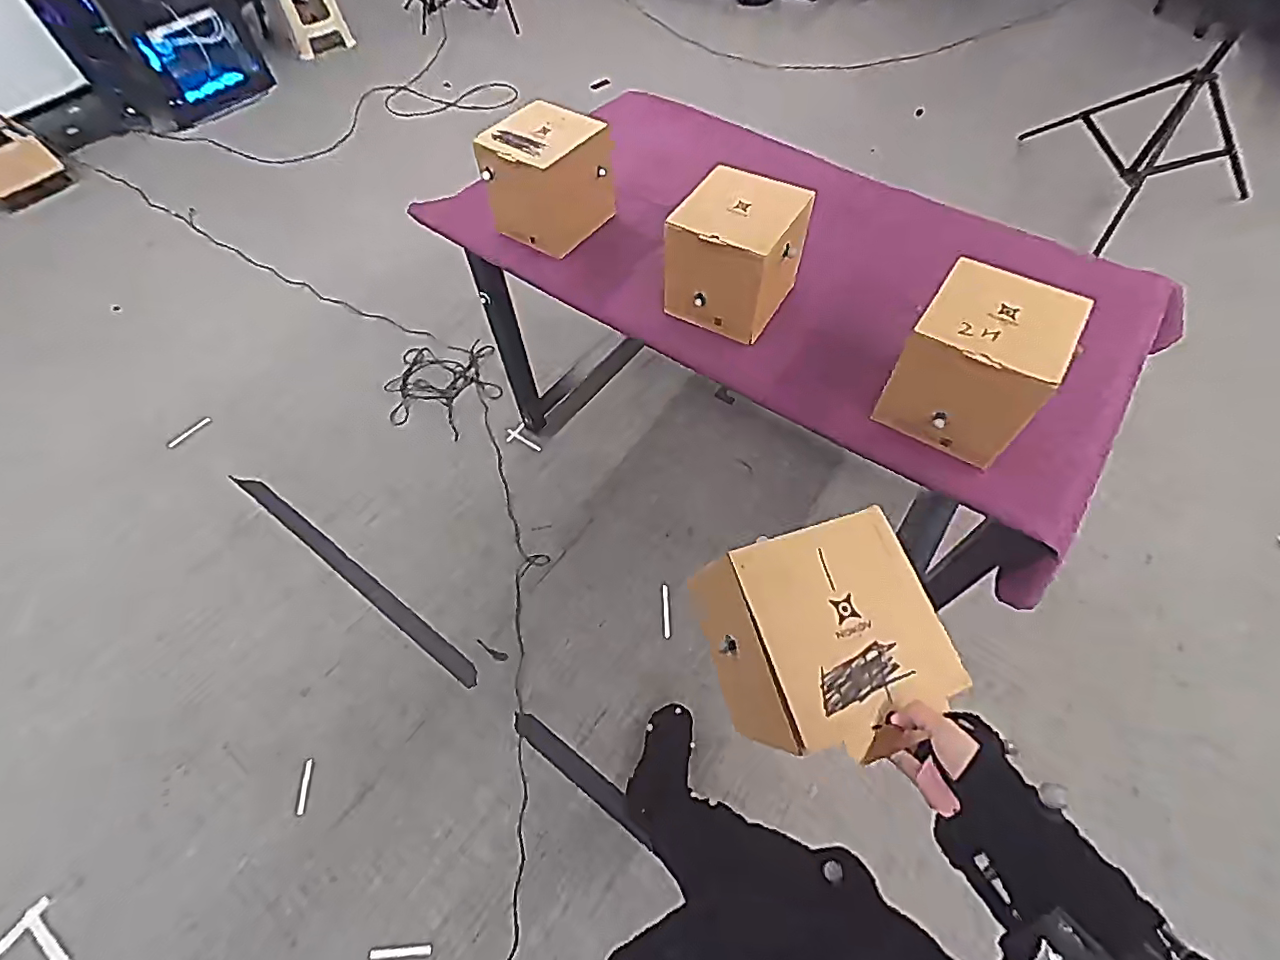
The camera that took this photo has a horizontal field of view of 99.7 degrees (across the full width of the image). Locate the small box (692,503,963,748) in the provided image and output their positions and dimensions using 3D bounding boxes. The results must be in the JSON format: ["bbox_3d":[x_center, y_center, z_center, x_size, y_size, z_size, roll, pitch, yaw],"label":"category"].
[{"bbox_3d":[0.169,0.145,0.548,0.168,0.176,0.179,-14,72,-14],"label":"small box"}]

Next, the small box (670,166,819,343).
[{"bbox_3d":[0.156,-0.354,0.859,0.168,0.176,0.179,27,64,17],"label":"small box"}]

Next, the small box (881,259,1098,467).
[{"bbox_3d":[0.451,-0.153,0.722,0.168,0.176,0.179,30,64,20],"label":"small box"}]
